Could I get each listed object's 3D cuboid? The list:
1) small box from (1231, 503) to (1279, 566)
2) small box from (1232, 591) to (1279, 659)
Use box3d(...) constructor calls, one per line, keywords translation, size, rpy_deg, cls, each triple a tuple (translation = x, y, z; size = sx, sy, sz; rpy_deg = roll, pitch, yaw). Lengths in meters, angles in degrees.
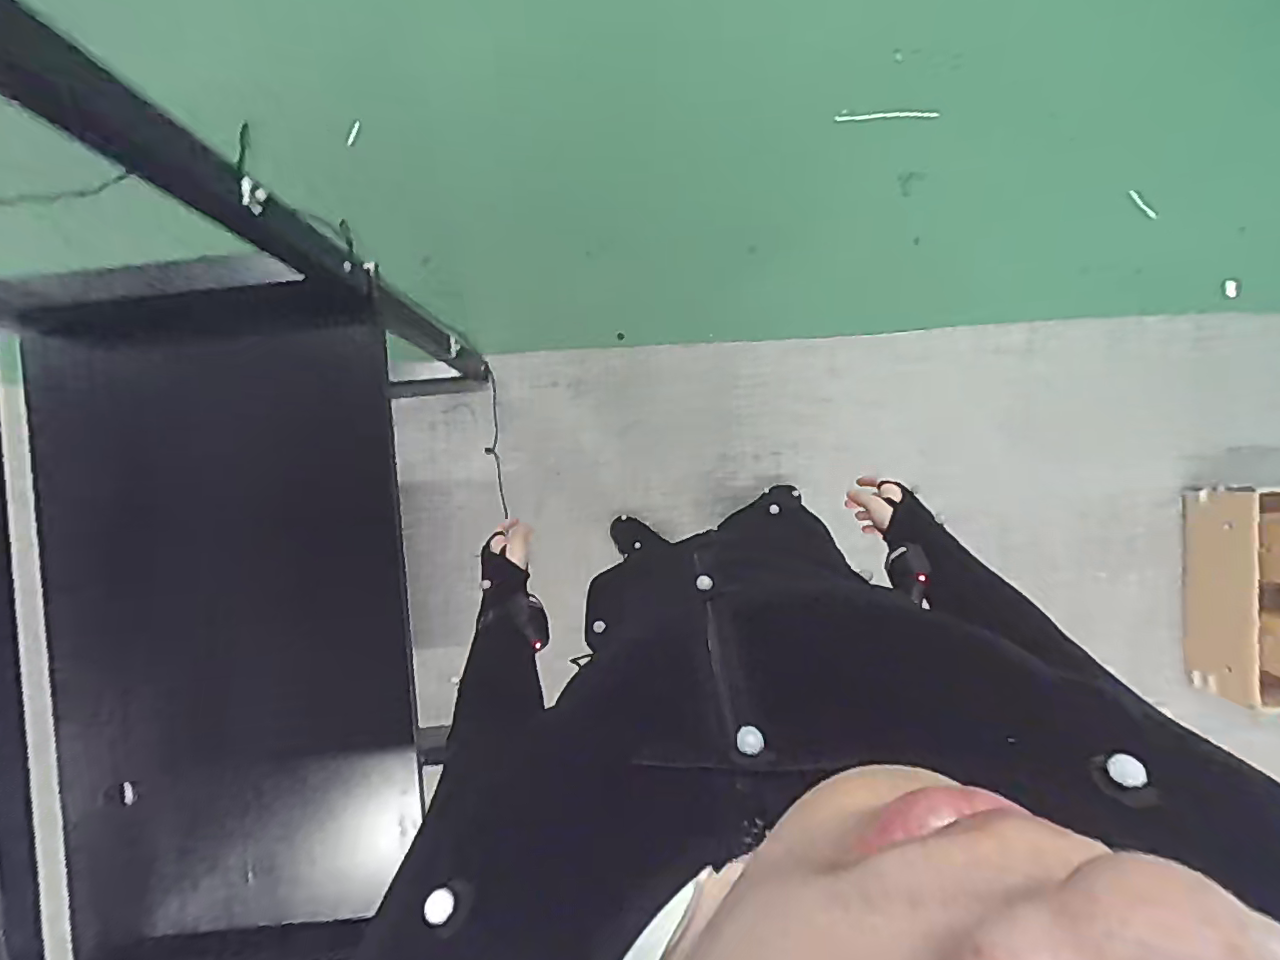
box3d(translation=(1.846, 0.155, 1.534), size=(0.179, 0.176, 0.168), rpy_deg=(-4, 93, 0), cls="small box")
box3d(translation=(1.856, 0.417, 1.541), size=(0.179, 0.176, 0.168), rpy_deg=(-3, 91, -1), cls="small box")
